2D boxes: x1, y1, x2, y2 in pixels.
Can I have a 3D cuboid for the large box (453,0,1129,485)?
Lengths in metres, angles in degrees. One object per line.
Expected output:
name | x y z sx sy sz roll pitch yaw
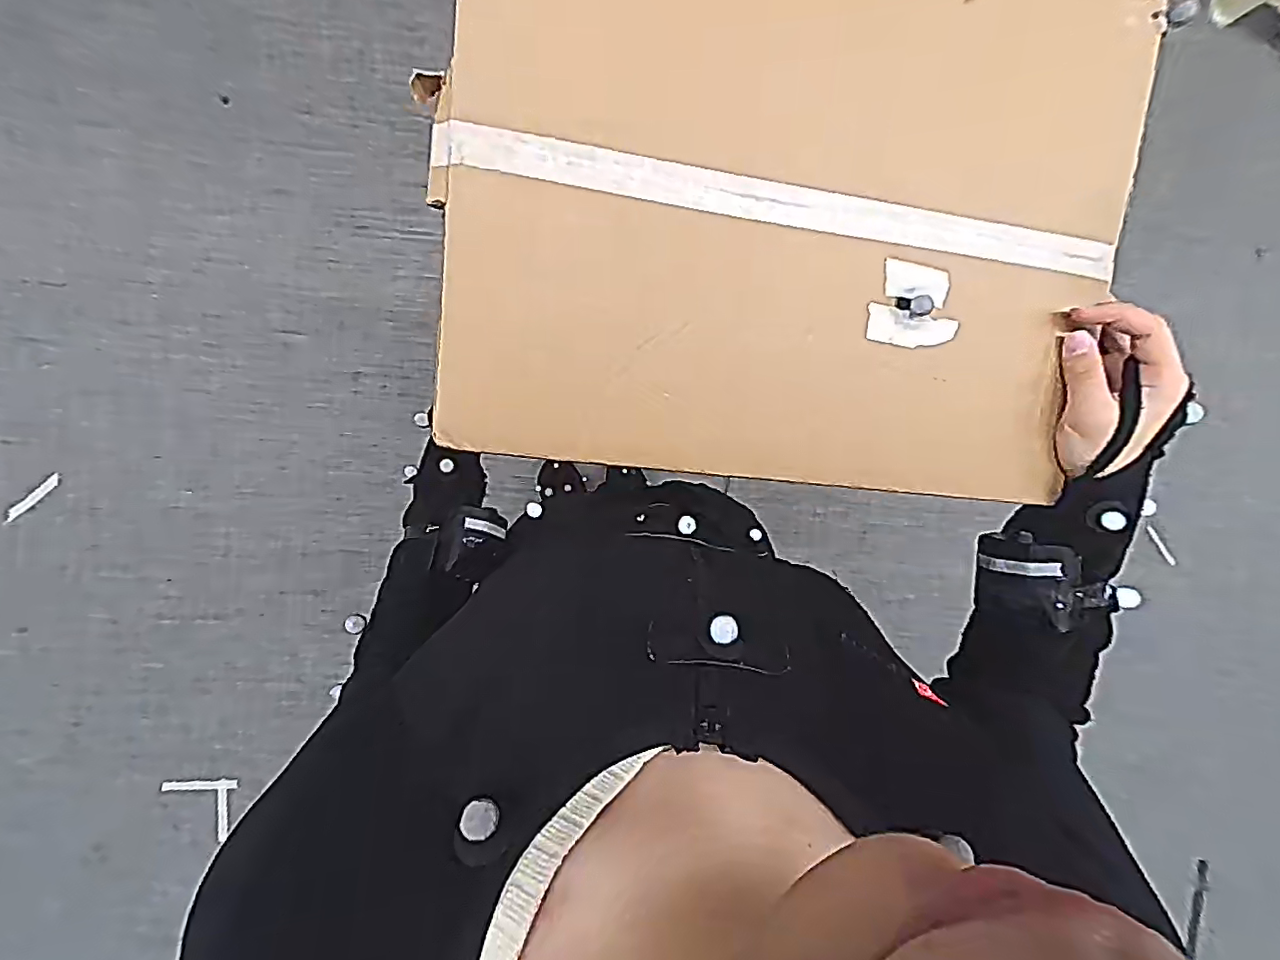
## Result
large box | 0.072 -0.181 0.464 0.408 0.320 0.320 5 99 -12
